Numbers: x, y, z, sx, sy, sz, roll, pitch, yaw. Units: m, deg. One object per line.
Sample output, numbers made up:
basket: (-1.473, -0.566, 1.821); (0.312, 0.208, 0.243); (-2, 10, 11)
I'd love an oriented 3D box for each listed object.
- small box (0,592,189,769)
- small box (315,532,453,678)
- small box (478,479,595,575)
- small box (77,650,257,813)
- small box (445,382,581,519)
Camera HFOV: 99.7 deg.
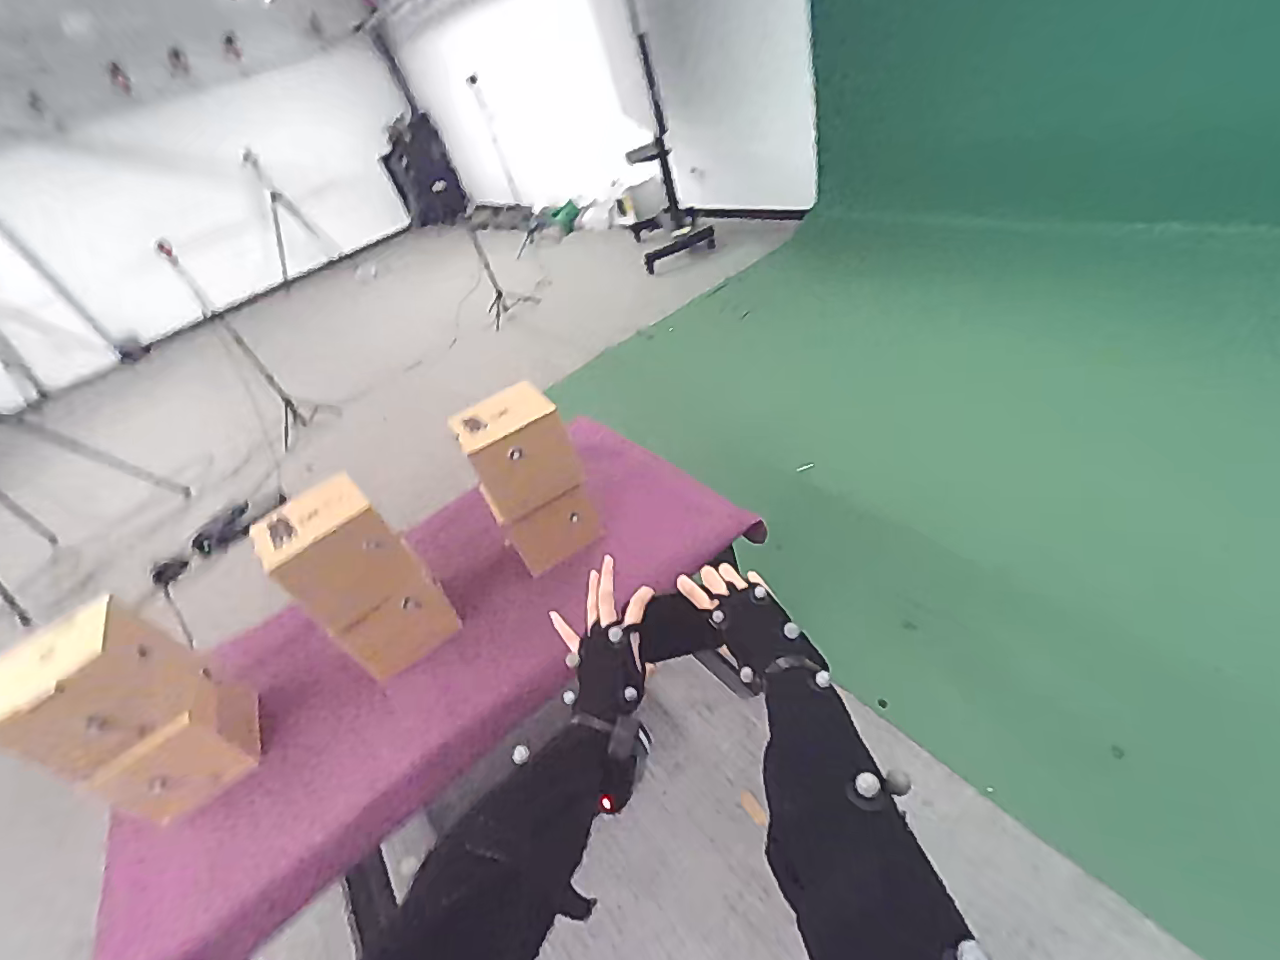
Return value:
small box: (-0.853, 0.318, 0.848); (0.168, 0.176, 0.179); (-37, 42, -22)
small box: (-0.487, 0.240, 1.048); (0.179, 0.176, 0.168); (-35, 40, -18)
small box: (-0.212, 0.064, 1.144); (0.179, 0.176, 0.168); (-31, 39, -13)
small box: (-0.805, 0.443, 0.943); (0.168, 0.176, 0.179); (-34, 40, -18)
small box: (-0.240, -0.056, 1.035); (0.179, 0.176, 0.168); (-30, 39, -14)
